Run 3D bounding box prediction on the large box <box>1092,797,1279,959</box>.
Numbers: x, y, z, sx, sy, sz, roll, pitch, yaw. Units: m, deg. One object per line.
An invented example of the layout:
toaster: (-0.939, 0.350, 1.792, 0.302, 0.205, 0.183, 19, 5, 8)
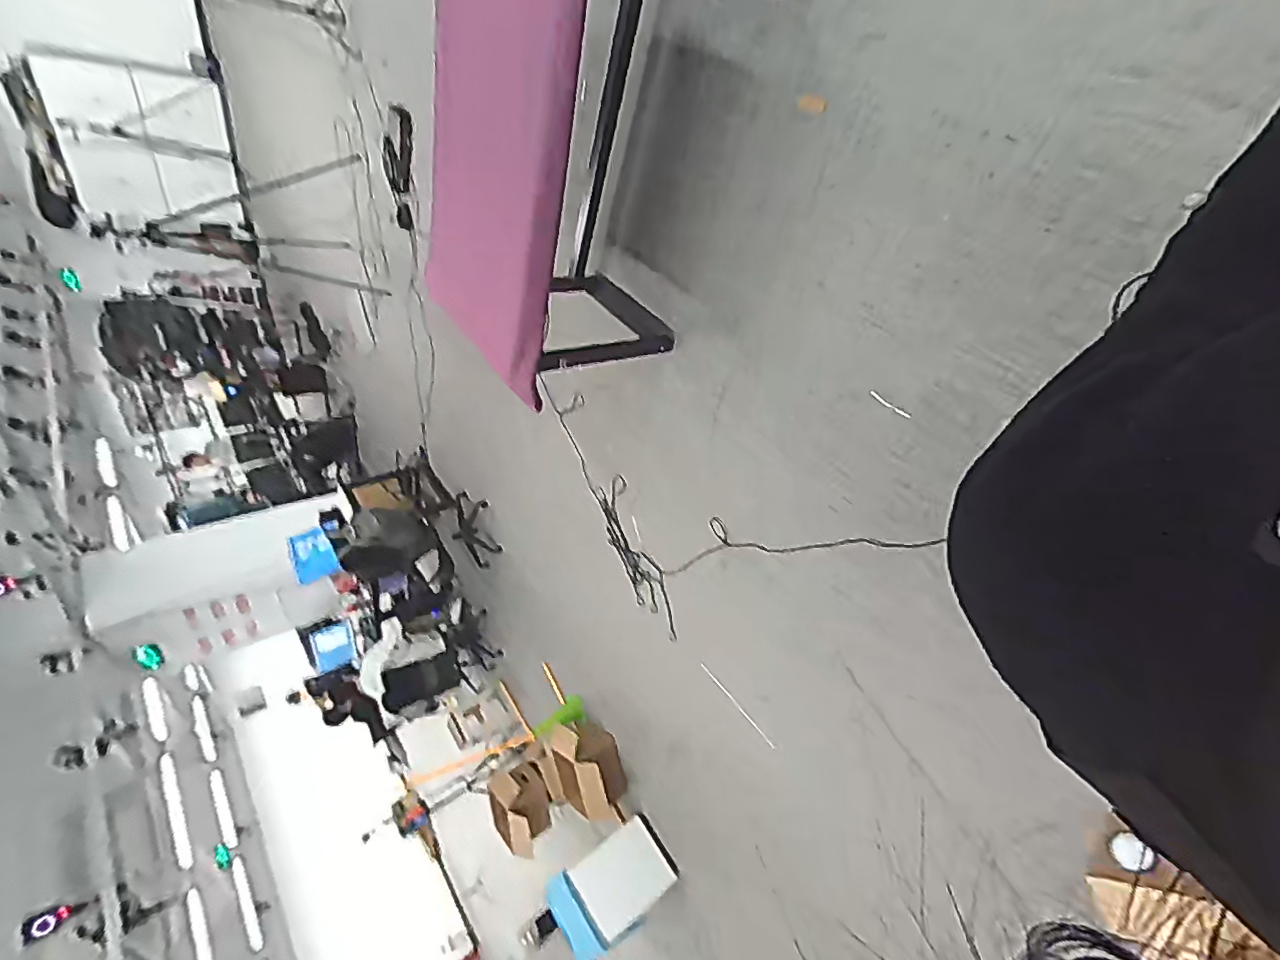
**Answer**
large box: (1.261, 0.901, 1.093, 0.408, 0.320, 0.320, -33, 78, 54)
